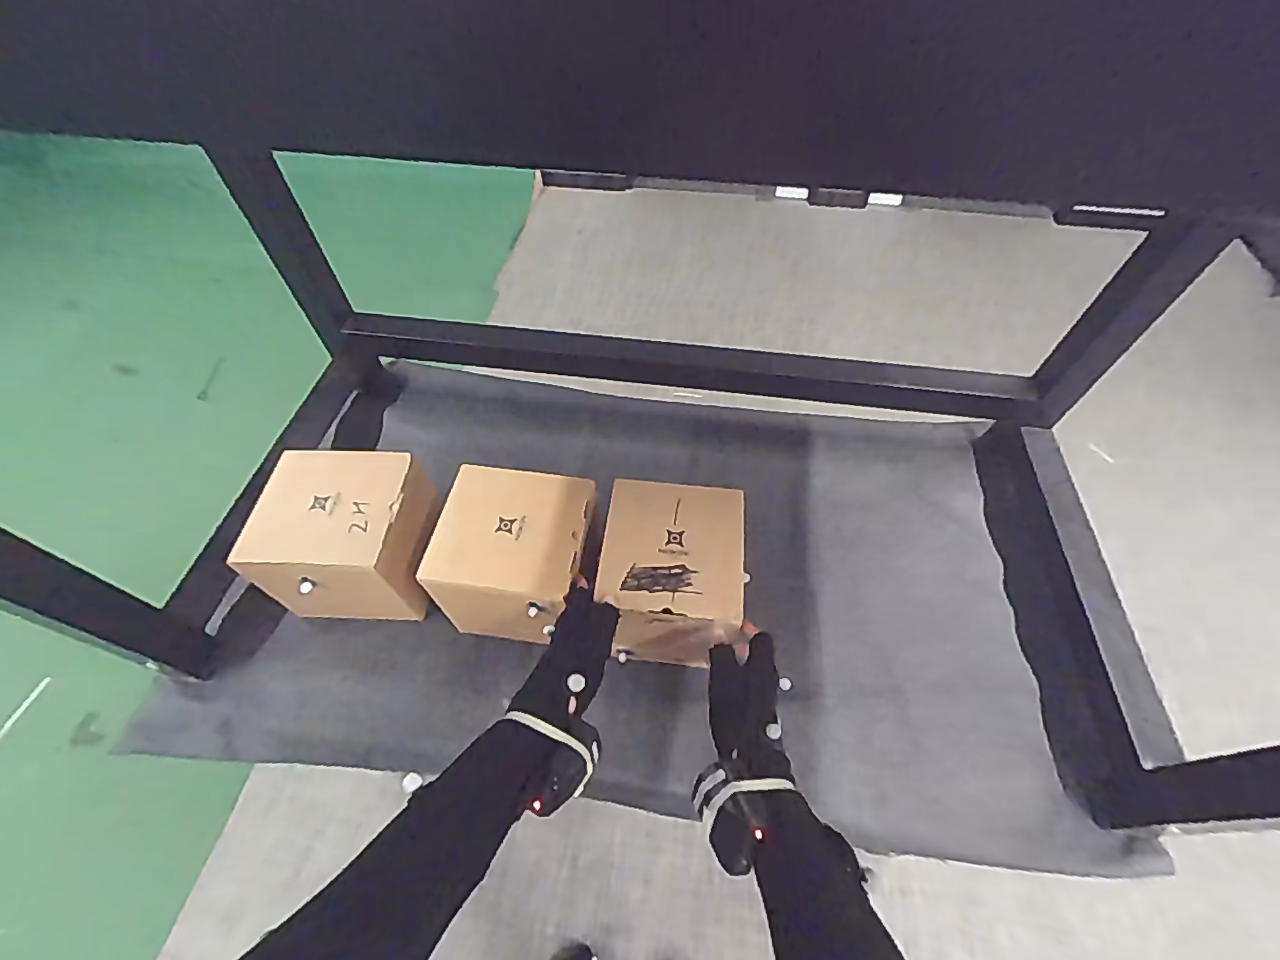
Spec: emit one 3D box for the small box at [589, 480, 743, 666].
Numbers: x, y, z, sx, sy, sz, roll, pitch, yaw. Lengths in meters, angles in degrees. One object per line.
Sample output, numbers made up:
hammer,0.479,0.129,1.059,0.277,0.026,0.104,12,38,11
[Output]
small box,0.037,0.124,0.692,0.168,0.176,0.179,6,54,4
